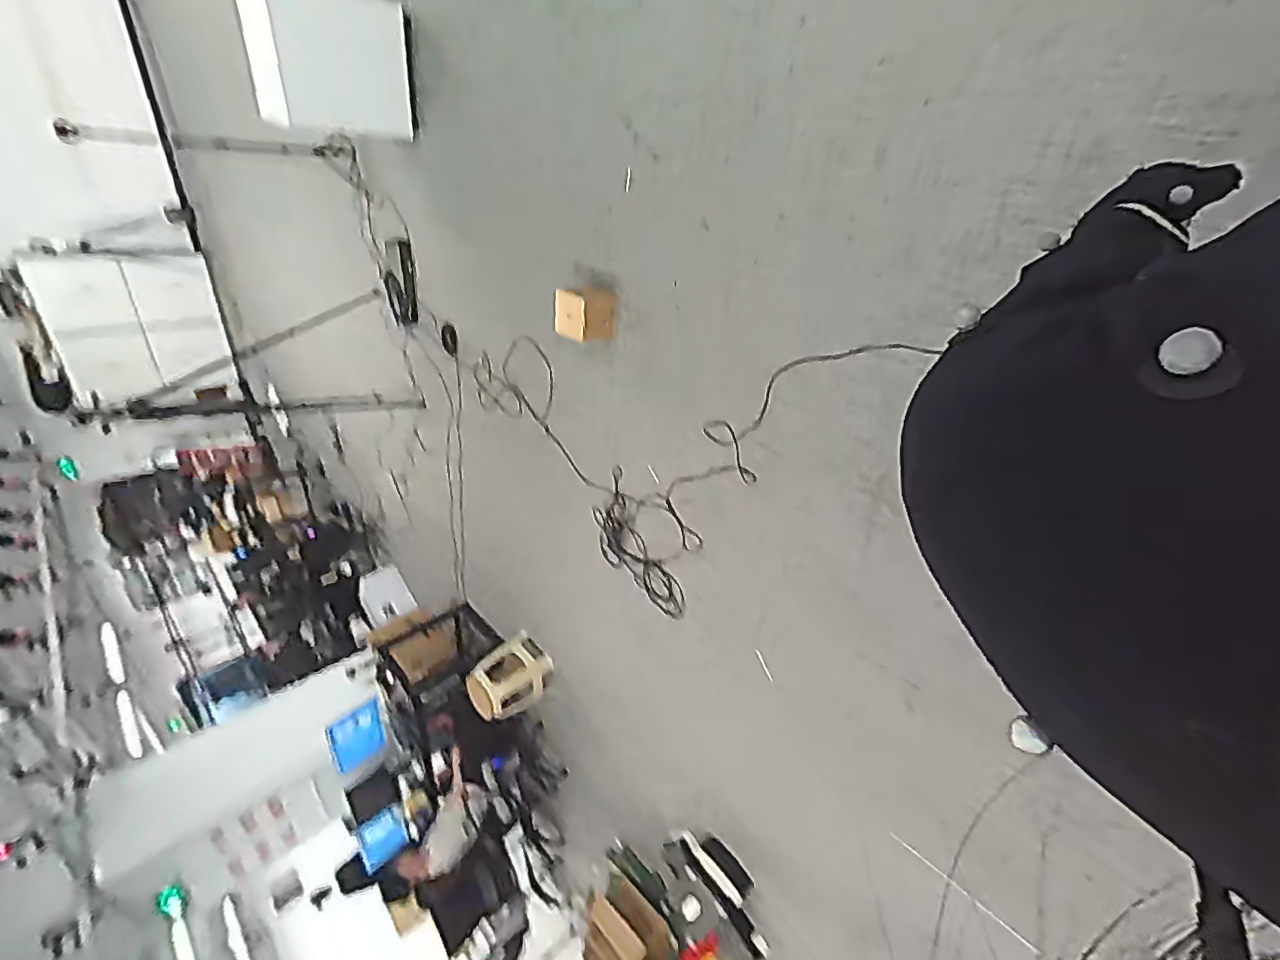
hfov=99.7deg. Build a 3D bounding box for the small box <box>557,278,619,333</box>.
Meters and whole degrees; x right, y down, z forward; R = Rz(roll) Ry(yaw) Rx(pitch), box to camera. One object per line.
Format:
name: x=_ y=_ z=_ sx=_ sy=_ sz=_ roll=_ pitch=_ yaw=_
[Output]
small box: x=-0.207 y=-0.694 z=2.131 sx=0.179 sy=0.176 sz=0.168 roll=32 pitch=129 yaw=34
